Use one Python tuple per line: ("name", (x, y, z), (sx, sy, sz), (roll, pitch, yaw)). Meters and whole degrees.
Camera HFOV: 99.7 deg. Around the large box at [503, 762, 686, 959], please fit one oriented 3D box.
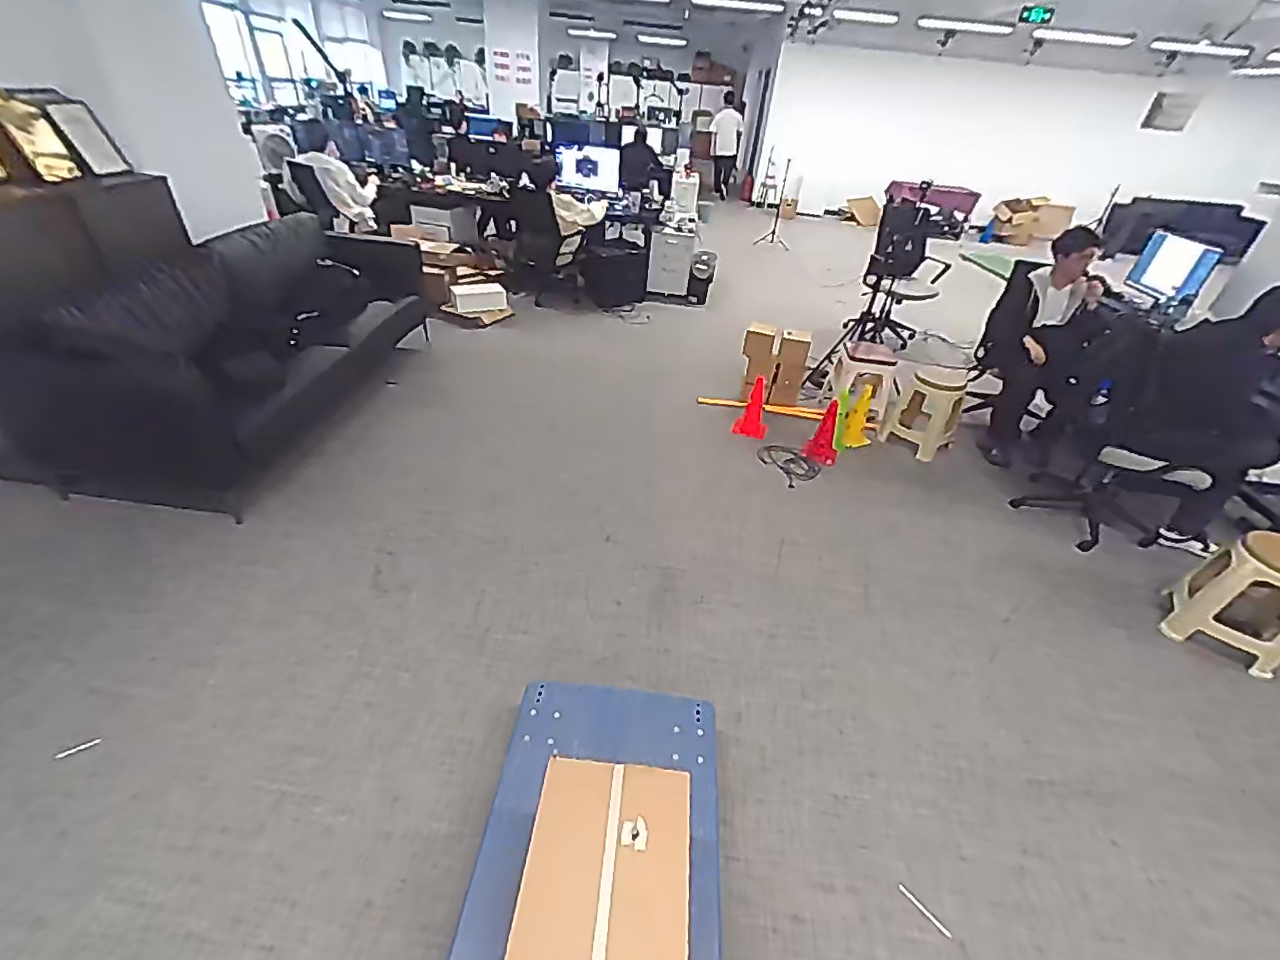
("large box", (-0.079, 0.868, 1.106), (0.320, 0.320, 0.408), (6, 34, 1))
